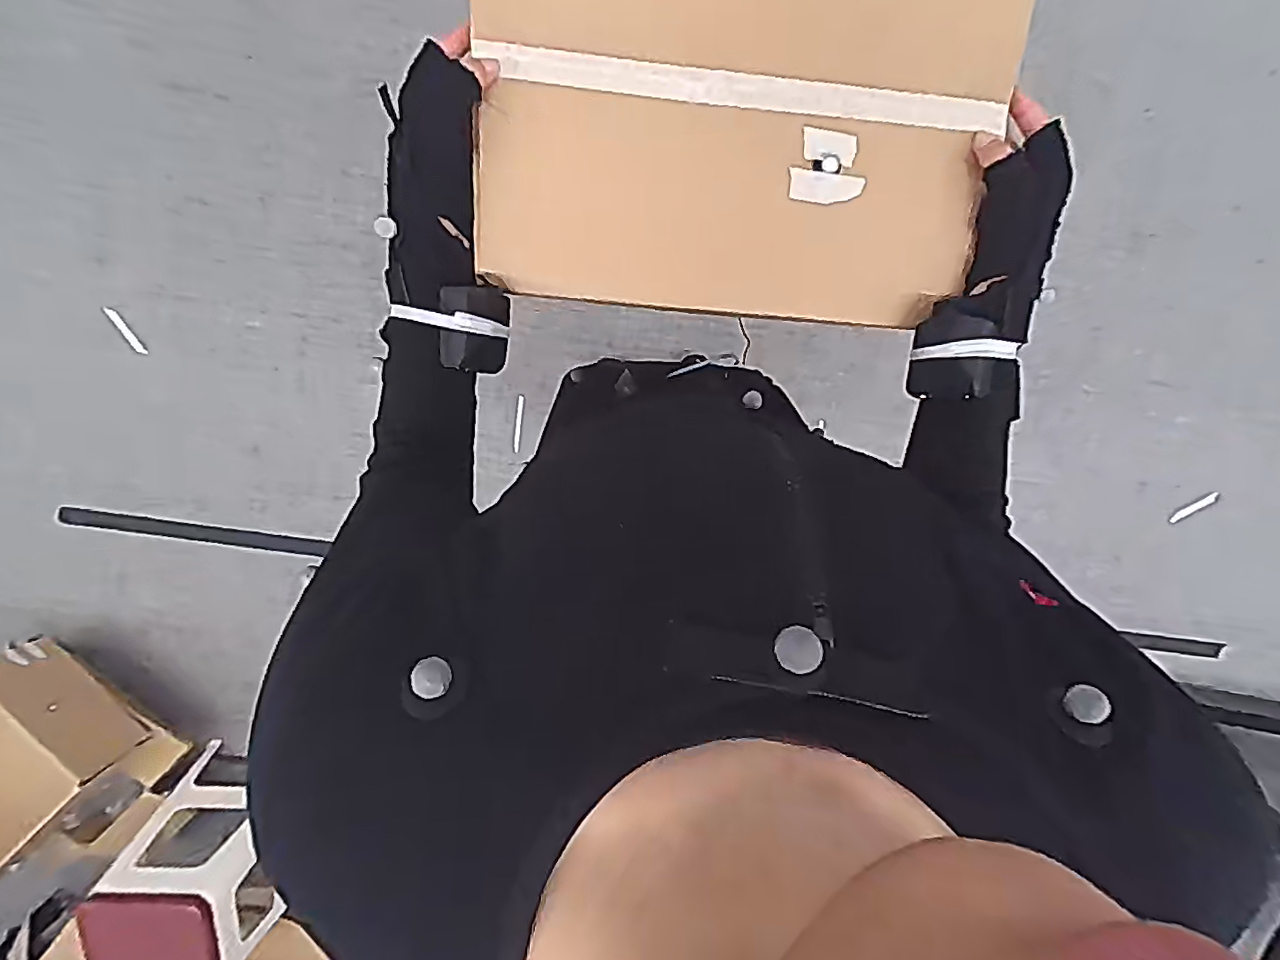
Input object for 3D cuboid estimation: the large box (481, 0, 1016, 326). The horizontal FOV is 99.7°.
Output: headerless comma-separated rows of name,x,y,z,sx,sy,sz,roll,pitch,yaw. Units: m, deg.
large box,0.068,-0.336,0.558,0.408,0.320,0.320,3,109,-6
